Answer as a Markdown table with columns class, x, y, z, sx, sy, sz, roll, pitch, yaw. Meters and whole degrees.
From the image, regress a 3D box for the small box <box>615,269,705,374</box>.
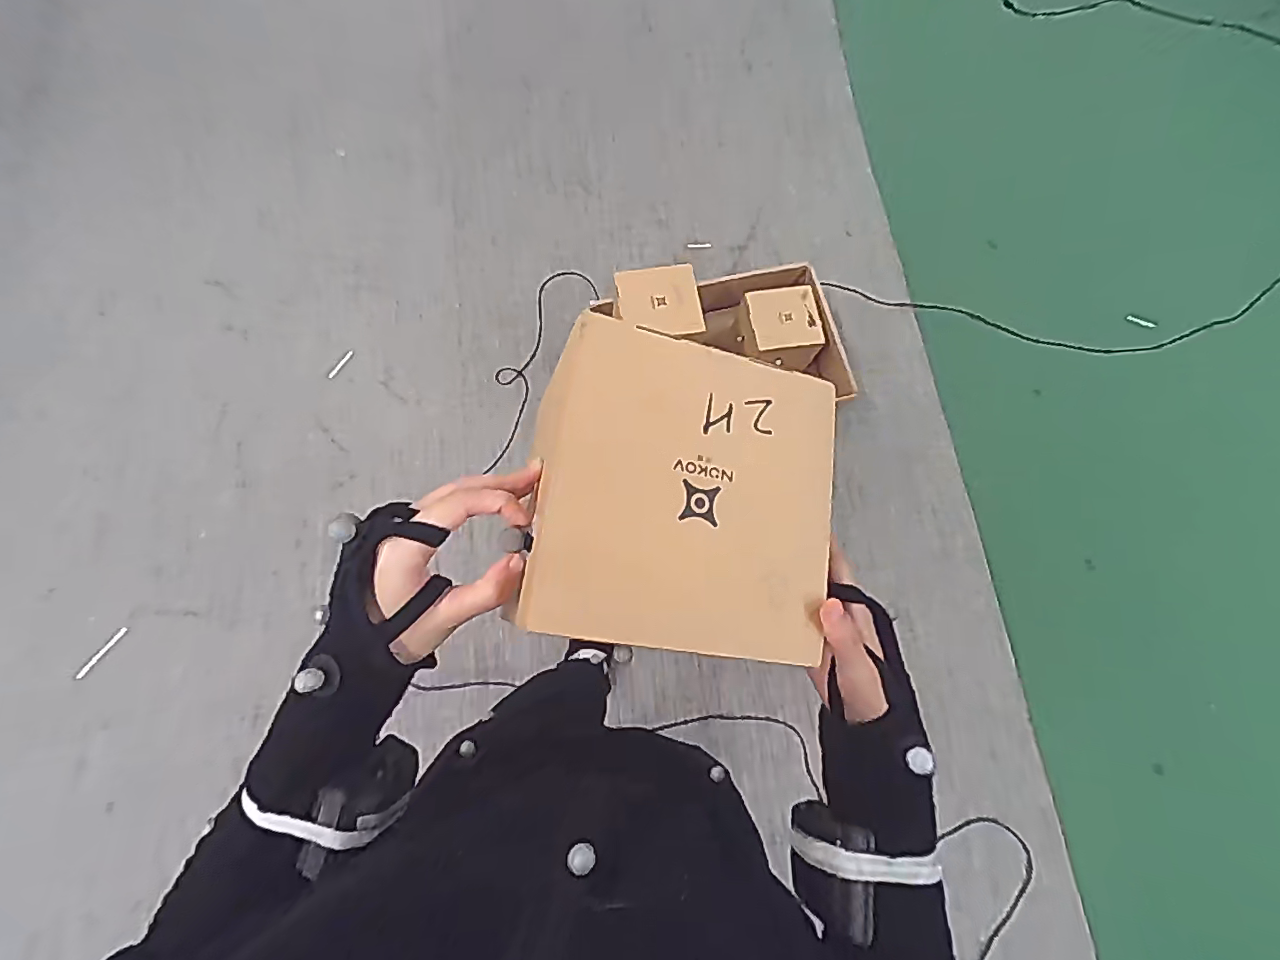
| class | x | y | z | sx | sy | sz | roll | pitch | yaw |
| --- | --- | --- | --- | --- | --- | --- | --- | --- | --- |
| small box | 0.039 | -0.356 | 1.238 | 0.179 | 0.176 | 0.168 | -8 | 78 | -6 |

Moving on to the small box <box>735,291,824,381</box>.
| class | x | y | z | sx | sy | sz | roll | pitch | yaw |
| --- | --- | --- | --- | --- | --- | --- | --- | --- | --- |
| small box | 0.358 | -0.373 | 1.429 | 0.179 | 0.176 | 0.168 | -7 | 76 | -4 |
